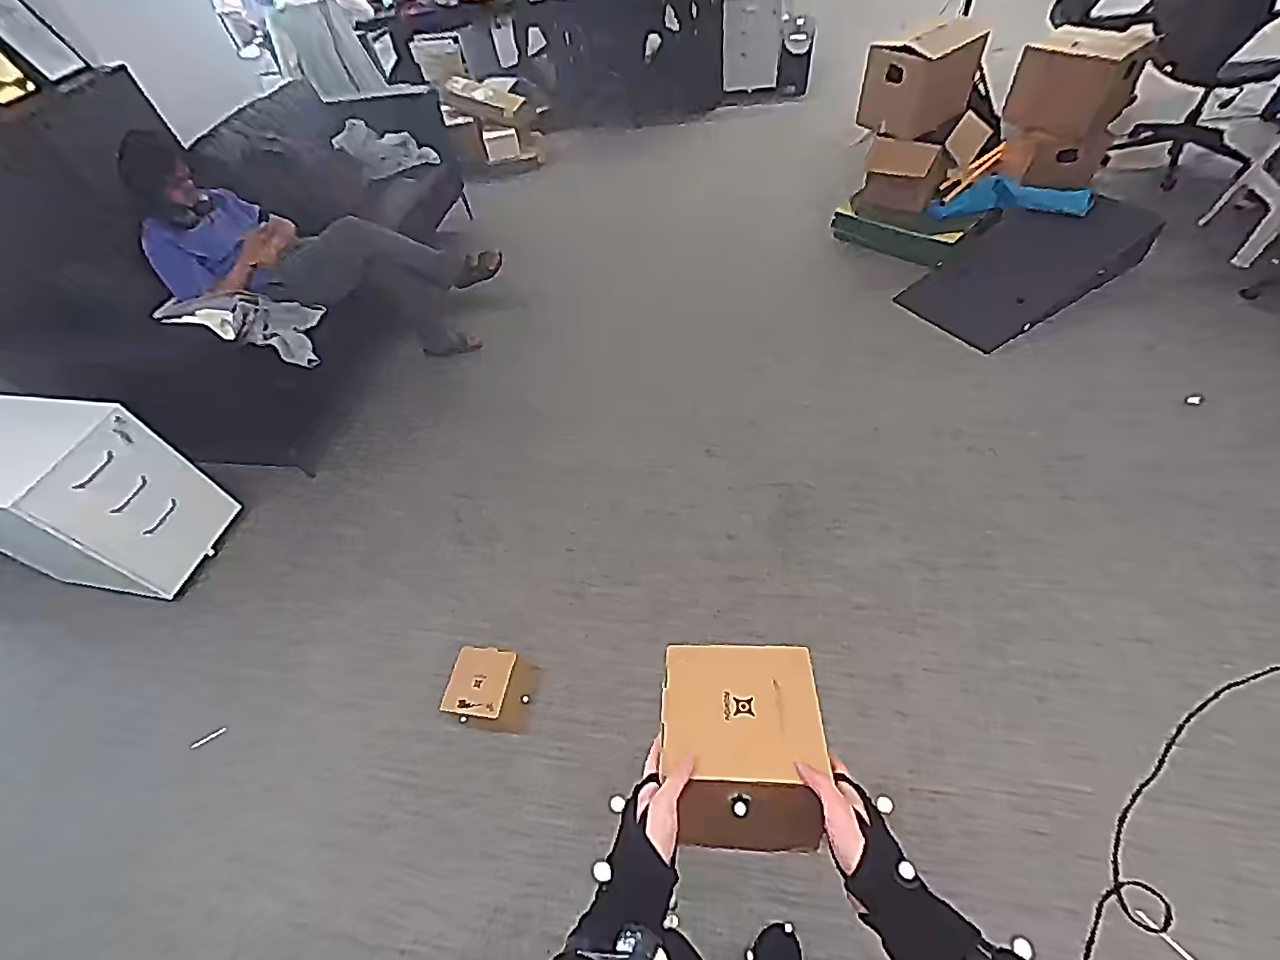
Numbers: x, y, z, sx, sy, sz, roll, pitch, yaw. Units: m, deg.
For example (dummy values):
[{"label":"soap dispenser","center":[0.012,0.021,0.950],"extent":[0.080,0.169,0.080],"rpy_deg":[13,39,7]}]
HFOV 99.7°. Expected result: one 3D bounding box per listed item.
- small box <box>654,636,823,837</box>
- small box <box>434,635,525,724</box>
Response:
[{"label":"small box","center":[0.112,0.312,0.663],"extent":[0.179,0.176,0.168],"rpy_deg":[0,37,6]},{"label":"small box","center":[-0.436,0.557,1.506],"extent":[0.168,0.176,0.179],"rpy_deg":[4,53,12]}]
